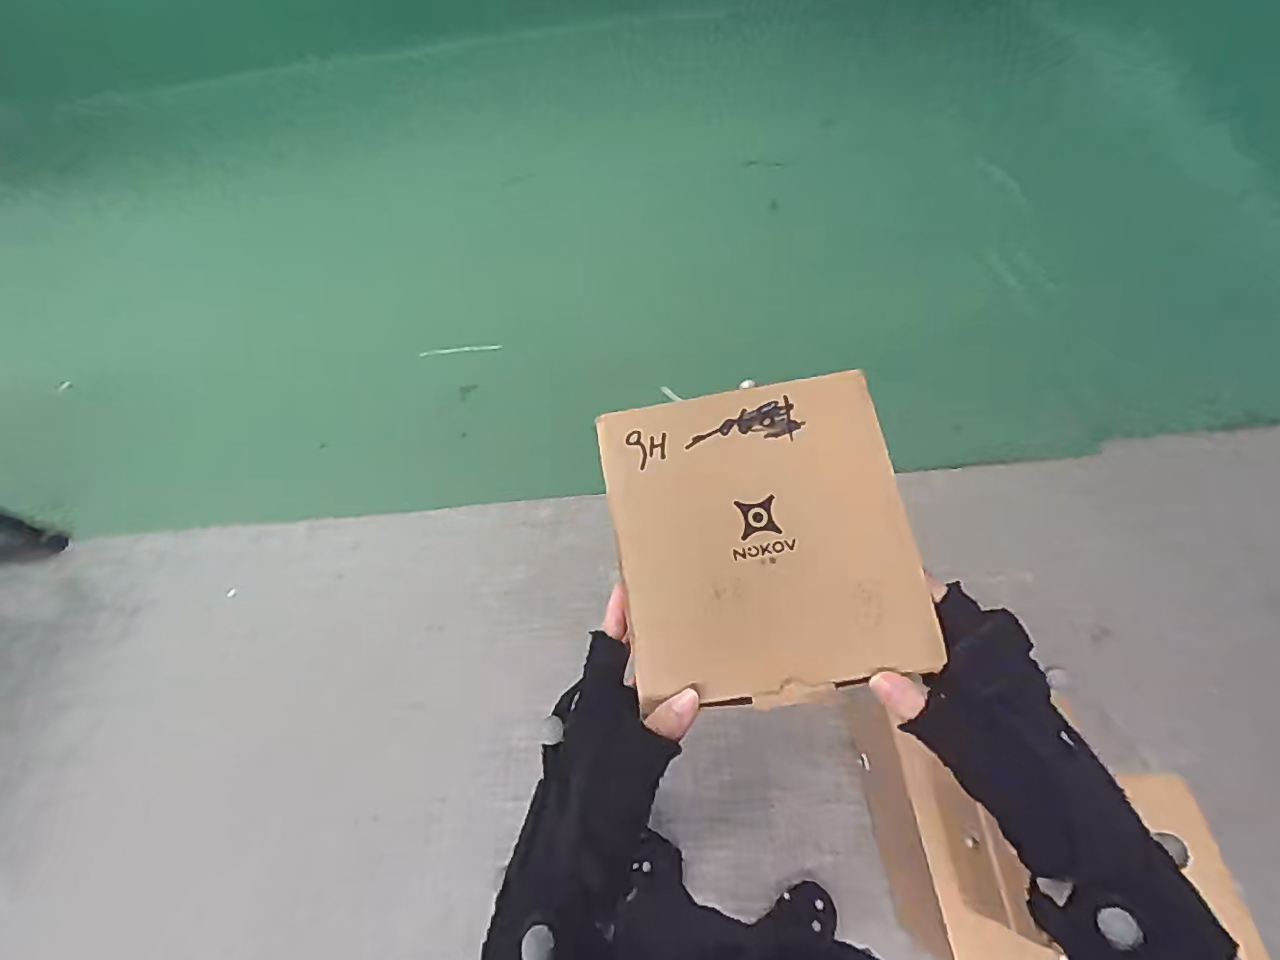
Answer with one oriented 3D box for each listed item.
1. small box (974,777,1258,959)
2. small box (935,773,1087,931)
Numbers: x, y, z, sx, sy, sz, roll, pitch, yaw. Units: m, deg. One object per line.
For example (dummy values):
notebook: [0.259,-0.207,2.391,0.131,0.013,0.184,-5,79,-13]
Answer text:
small box: [0.539,0.459,0.647,0.168,0.176,0.179,-7,60,6]
small box: [0.560,0.533,0.792,0.168,0.176,0.179,-5,61,7]
